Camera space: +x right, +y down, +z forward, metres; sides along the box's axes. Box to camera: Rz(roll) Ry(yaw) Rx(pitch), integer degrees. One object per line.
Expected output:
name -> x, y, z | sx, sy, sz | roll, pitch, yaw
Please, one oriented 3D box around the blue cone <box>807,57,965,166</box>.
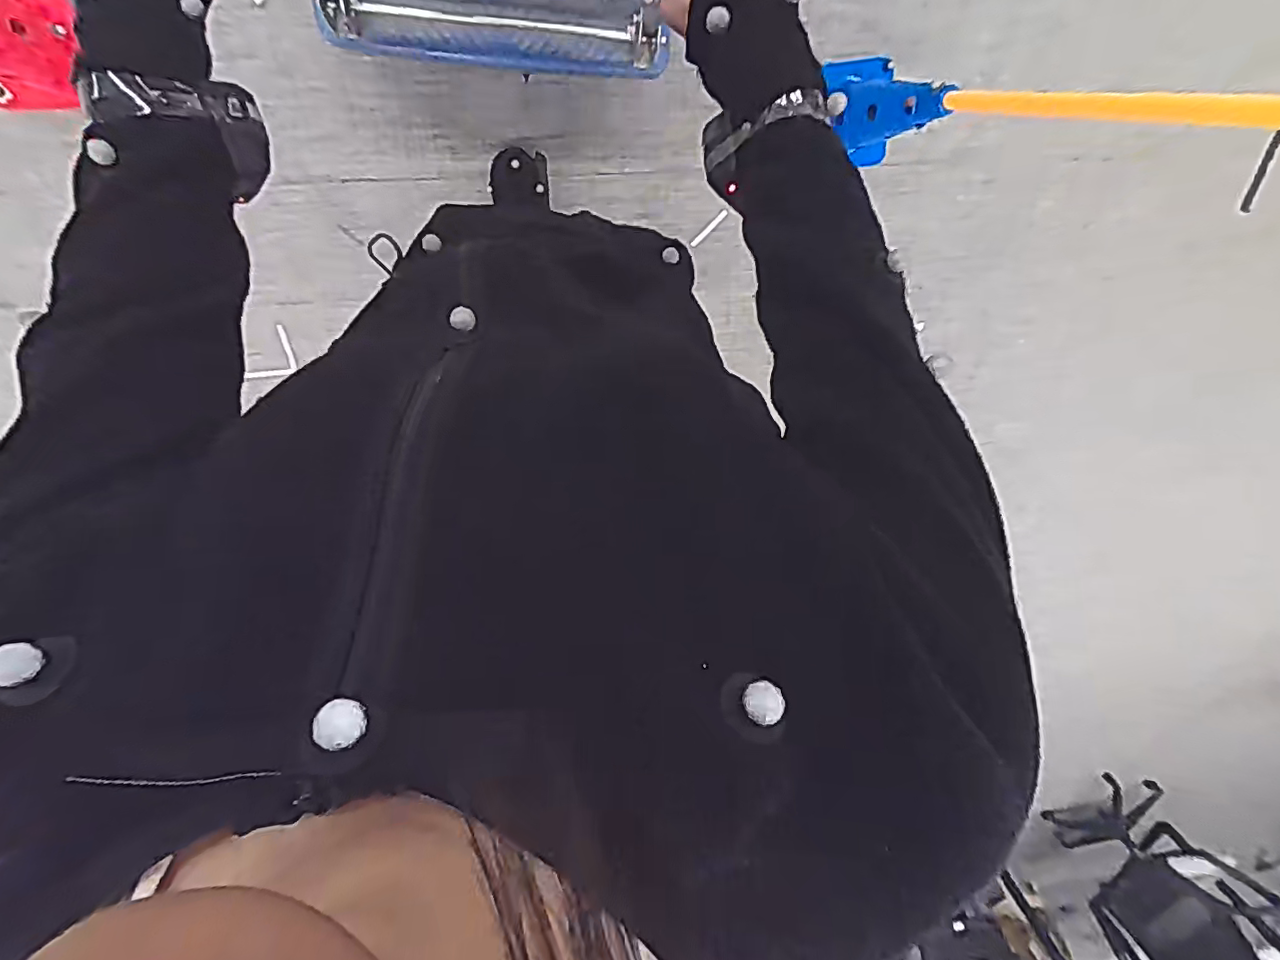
blue cone -> 0.480, -0.719, 1.035 | 0.193, 0.380, 0.192 | -9, 120, -5
